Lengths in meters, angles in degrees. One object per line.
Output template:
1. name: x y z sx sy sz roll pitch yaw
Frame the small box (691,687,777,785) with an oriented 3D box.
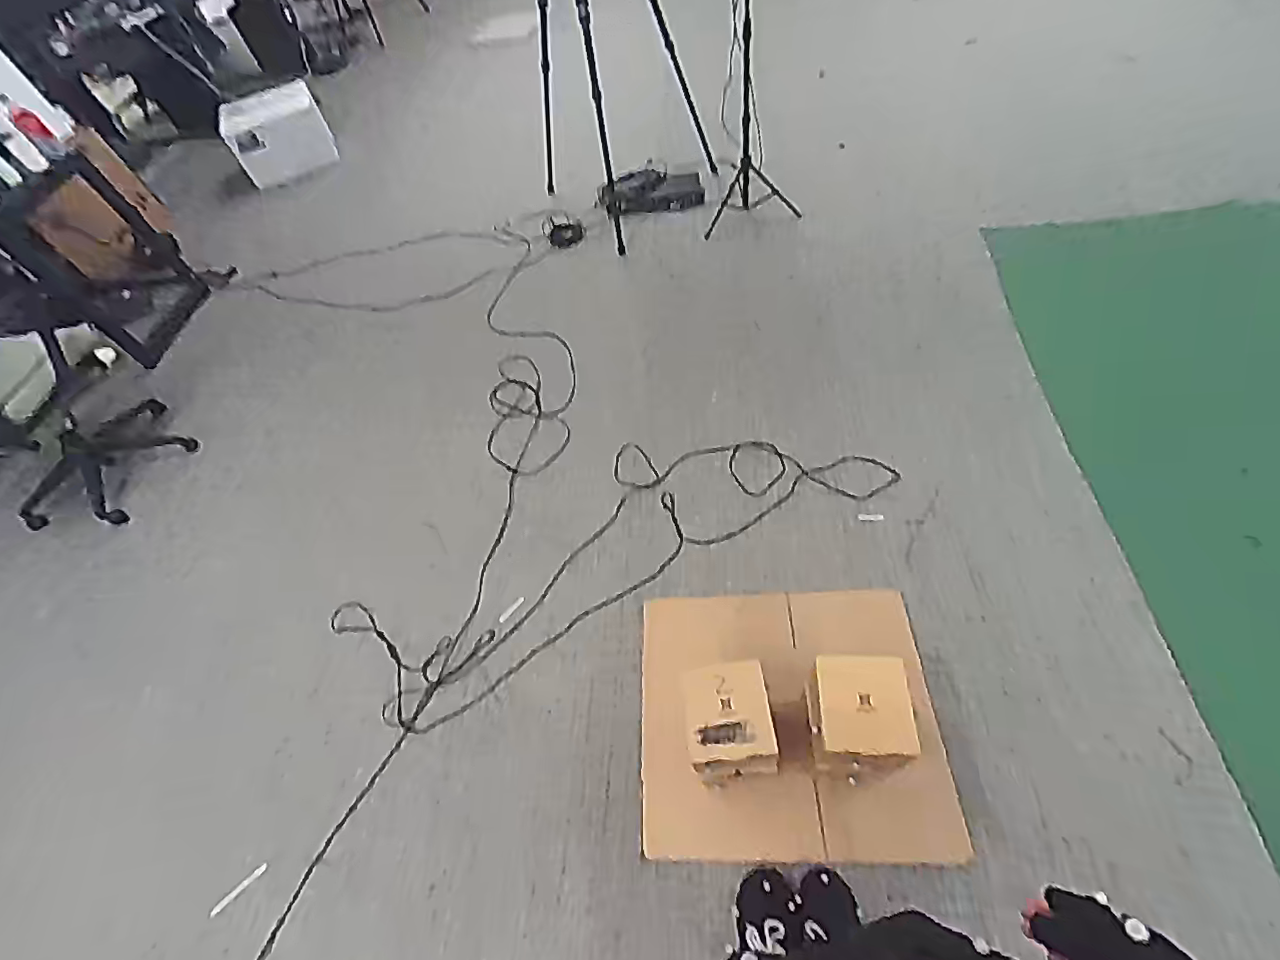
1. small box: 0.214 0.588 1.230 0.168 0.176 0.179 -8 54 6

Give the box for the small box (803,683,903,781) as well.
1. small box: 0.462 0.561 1.204 0.168 0.176 0.179 -6 55 9

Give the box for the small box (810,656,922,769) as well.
1. small box: 0.436 0.464 1.076 0.168 0.176 0.179 -3 56 10
